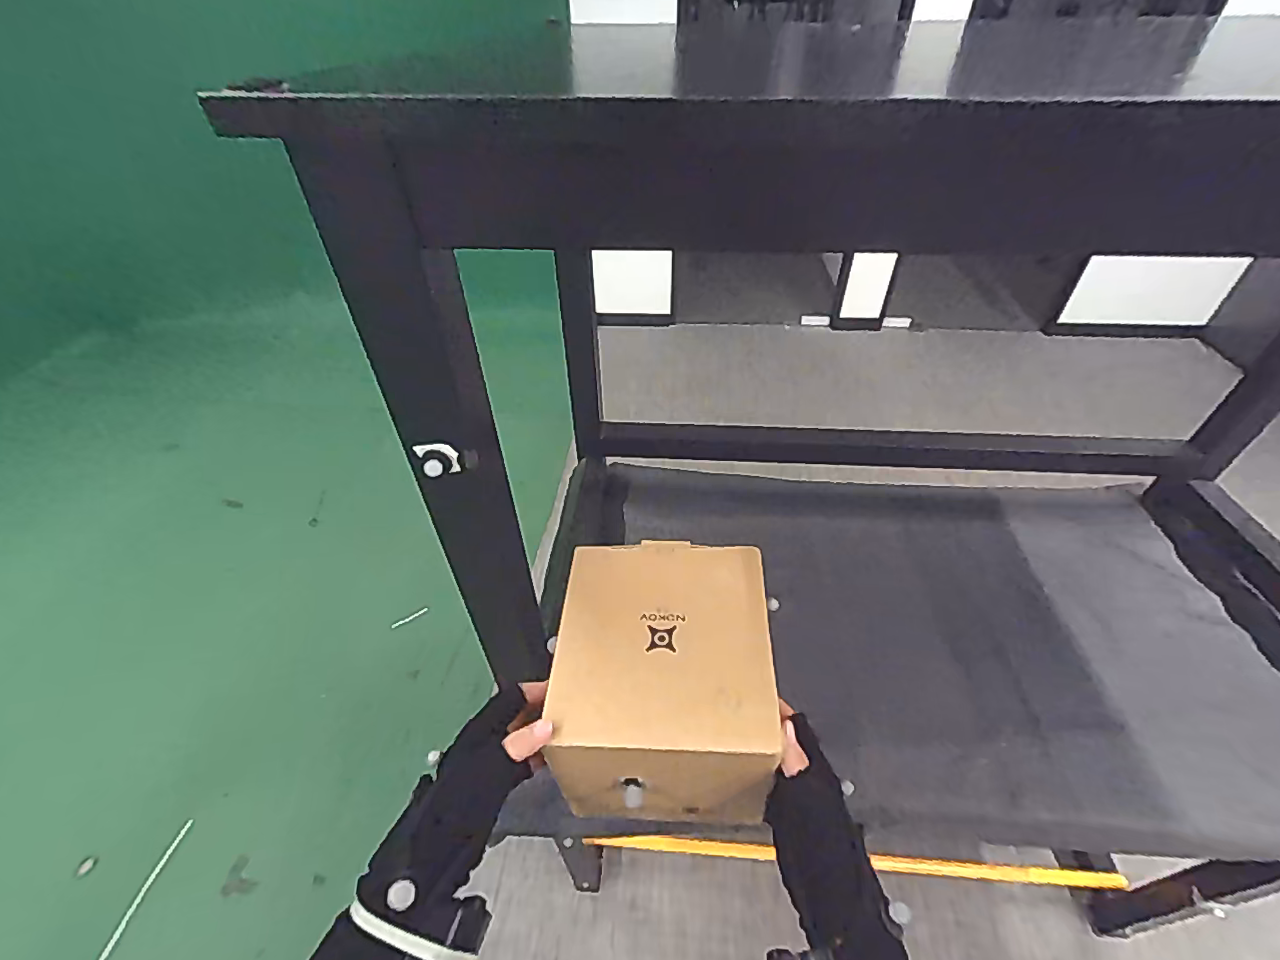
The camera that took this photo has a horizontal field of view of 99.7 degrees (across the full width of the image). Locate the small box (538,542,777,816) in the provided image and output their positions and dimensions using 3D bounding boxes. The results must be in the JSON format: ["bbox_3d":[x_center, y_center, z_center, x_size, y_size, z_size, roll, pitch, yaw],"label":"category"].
[{"bbox_3d":[0.022,0.174,0.474,0.168,0.176,0.179,0,43,5],"label":"small box"}]
